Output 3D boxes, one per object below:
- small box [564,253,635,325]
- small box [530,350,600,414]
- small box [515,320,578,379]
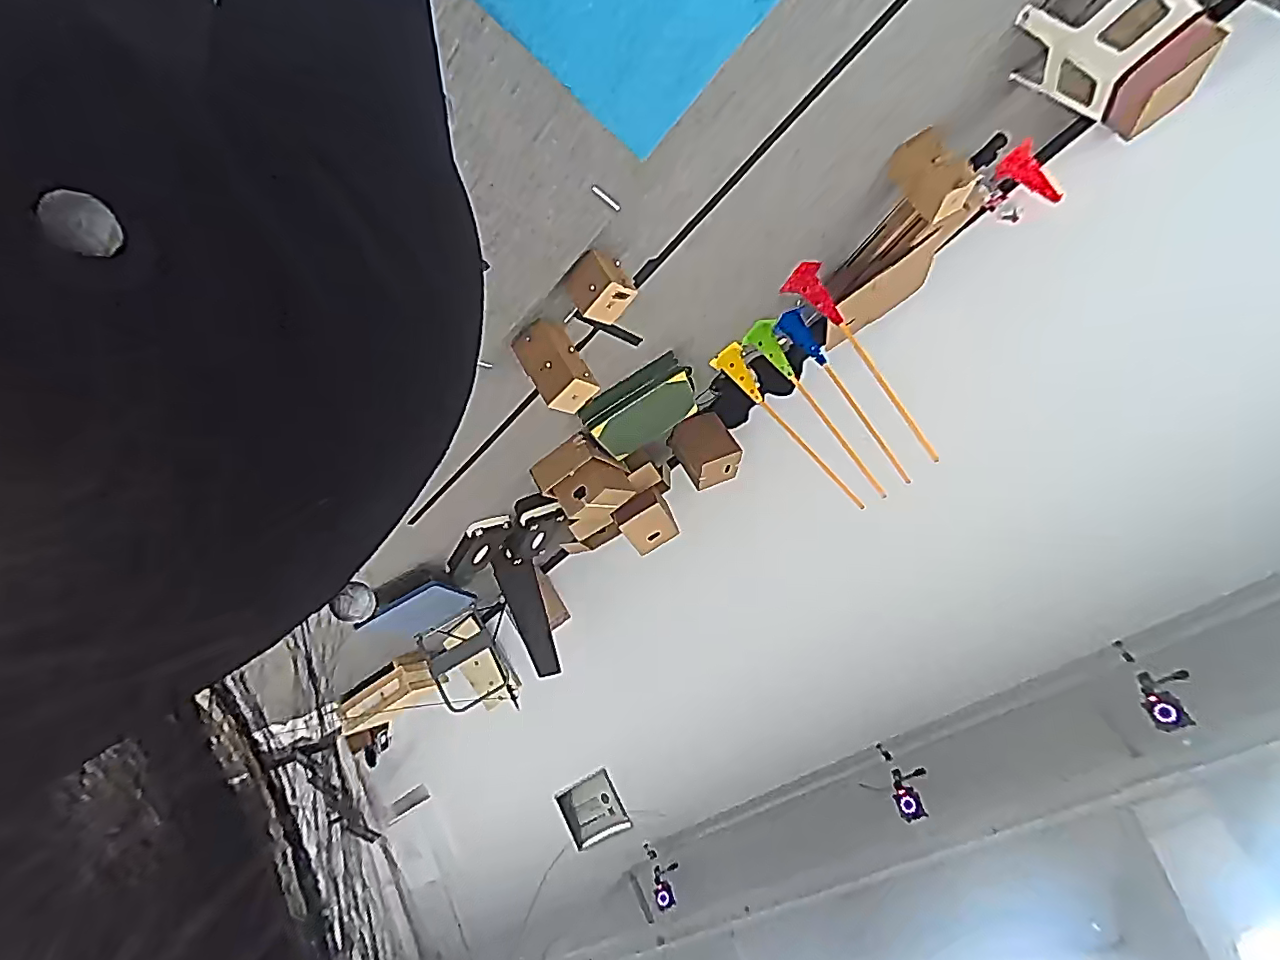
[{"bbox_3d":[-0.157,-0.720,2.034,0.179,0.176,0.168,-42,159,29],"label":"small box"},{"bbox_3d":[-0.298,-0.389,2.141,0.168,0.176,0.179,-40,159,21],"label":"small box"},{"bbox_3d":[-0.384,-0.515,2.199,0.179,0.176,0.168,-38,162,21],"label":"small box"}]
